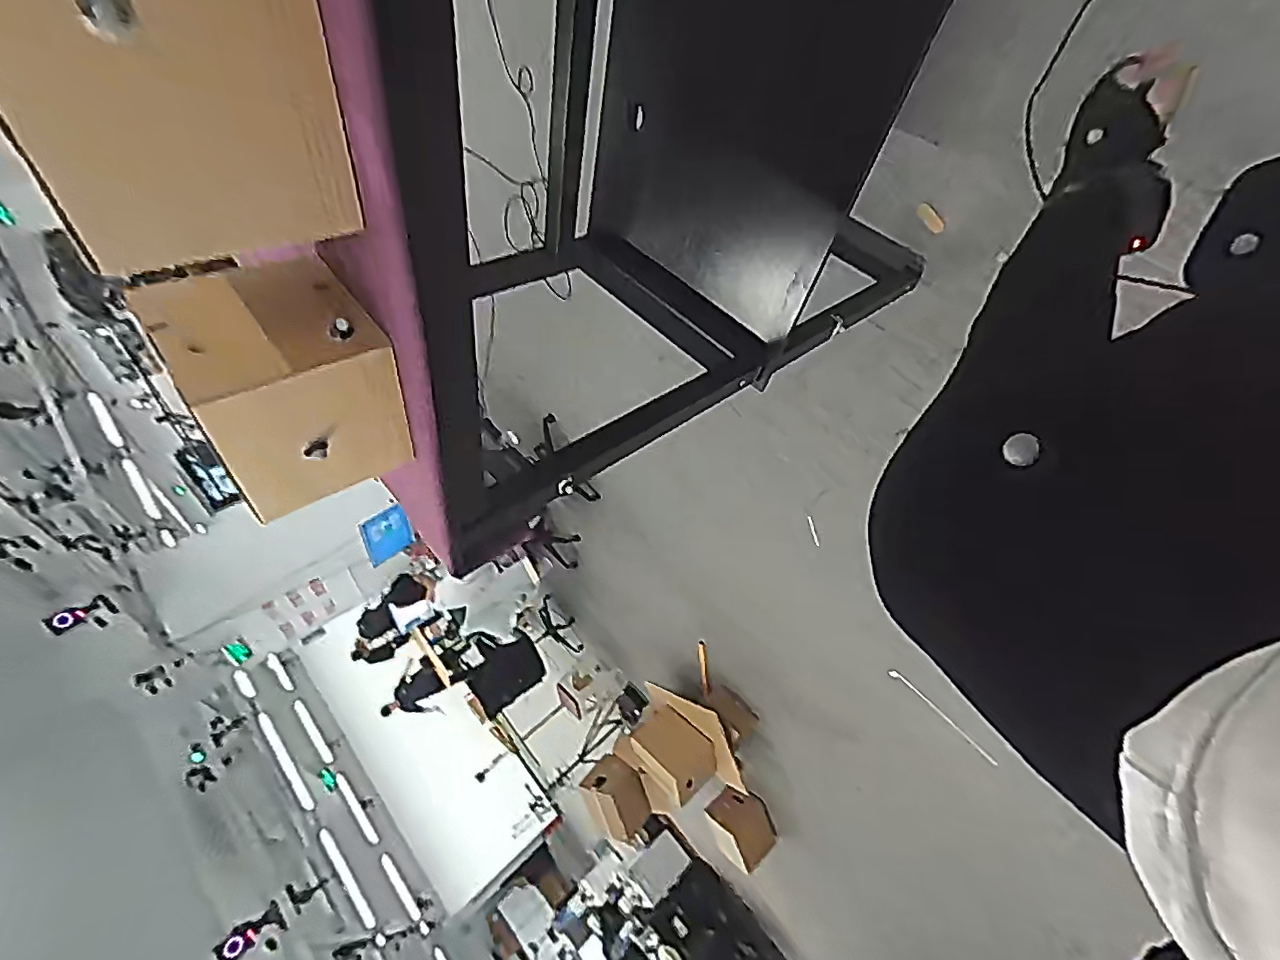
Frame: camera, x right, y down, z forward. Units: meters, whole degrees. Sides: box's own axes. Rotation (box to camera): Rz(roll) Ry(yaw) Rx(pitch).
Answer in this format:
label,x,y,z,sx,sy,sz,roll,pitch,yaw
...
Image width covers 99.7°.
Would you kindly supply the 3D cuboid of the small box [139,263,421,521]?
label,x,y,z,sx,sy,sz,roll,pitch,yaw
small box,-0.352,-0.097,0.562,0.168,0.176,0.179,46,147,21
